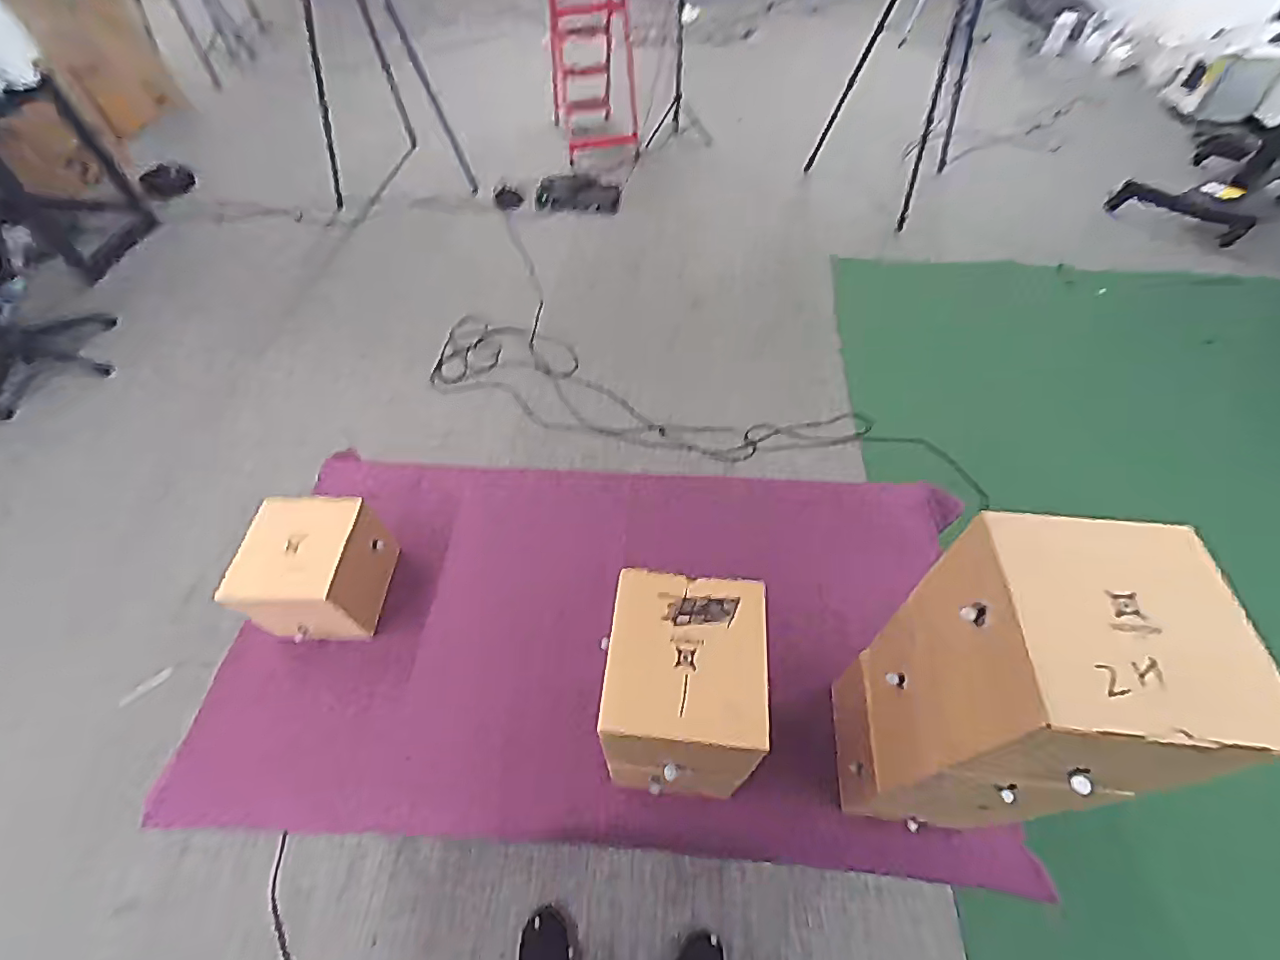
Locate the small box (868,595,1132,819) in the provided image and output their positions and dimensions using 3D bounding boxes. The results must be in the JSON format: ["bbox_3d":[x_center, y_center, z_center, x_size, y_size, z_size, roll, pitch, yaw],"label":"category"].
[{"bbox_3d":[0.364,0.251,0.594,0.168,0.176,0.179,5,53,6],"label":"small box"}]

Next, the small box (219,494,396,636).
[{"bbox_3d":[-0.529,0.142,0.895,0.168,0.176,0.179,1,55,2],"label":"small box"}]

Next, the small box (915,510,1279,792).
[{"bbox_3d":[0.359,0.149,0.464,0.168,0.176,0.179,5,54,6],"label":"small box"}]

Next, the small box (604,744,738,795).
[{"bbox_3d":[0.050,0.325,0.753,0.168,0.176,0.179,5,53,5],"label":"small box"}]

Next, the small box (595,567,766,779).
[{"bbox_3d":[0.048,0.224,0.623,0.168,0.176,0.179,5,53,5],"label":"small box"}]
